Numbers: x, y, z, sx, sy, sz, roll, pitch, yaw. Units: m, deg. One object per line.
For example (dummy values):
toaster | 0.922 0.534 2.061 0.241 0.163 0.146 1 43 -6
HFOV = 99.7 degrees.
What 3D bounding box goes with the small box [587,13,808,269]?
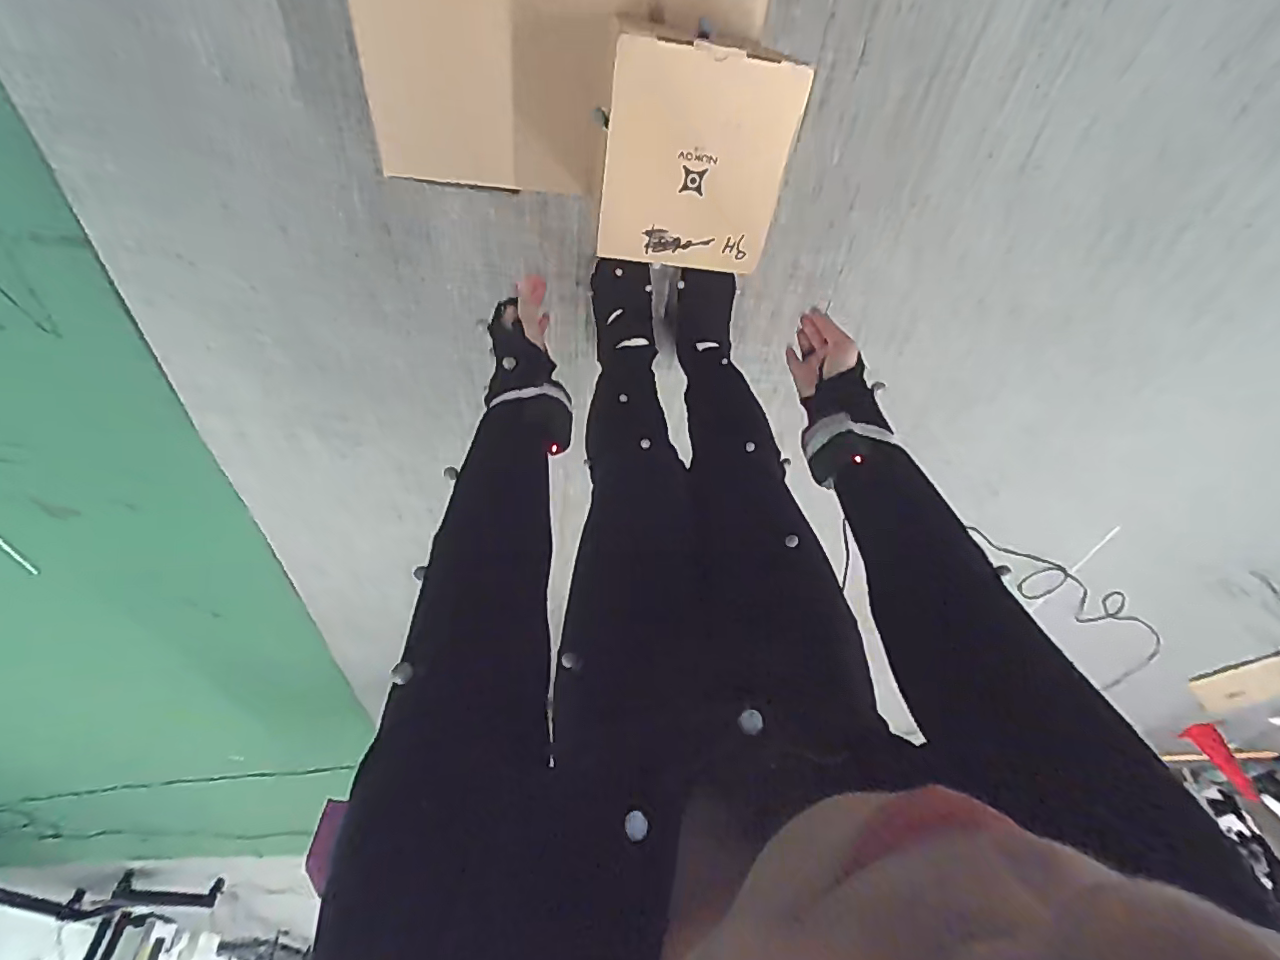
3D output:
small box | 0.038 -0.340 0.542 0.168 0.176 0.179 4 132 -10
